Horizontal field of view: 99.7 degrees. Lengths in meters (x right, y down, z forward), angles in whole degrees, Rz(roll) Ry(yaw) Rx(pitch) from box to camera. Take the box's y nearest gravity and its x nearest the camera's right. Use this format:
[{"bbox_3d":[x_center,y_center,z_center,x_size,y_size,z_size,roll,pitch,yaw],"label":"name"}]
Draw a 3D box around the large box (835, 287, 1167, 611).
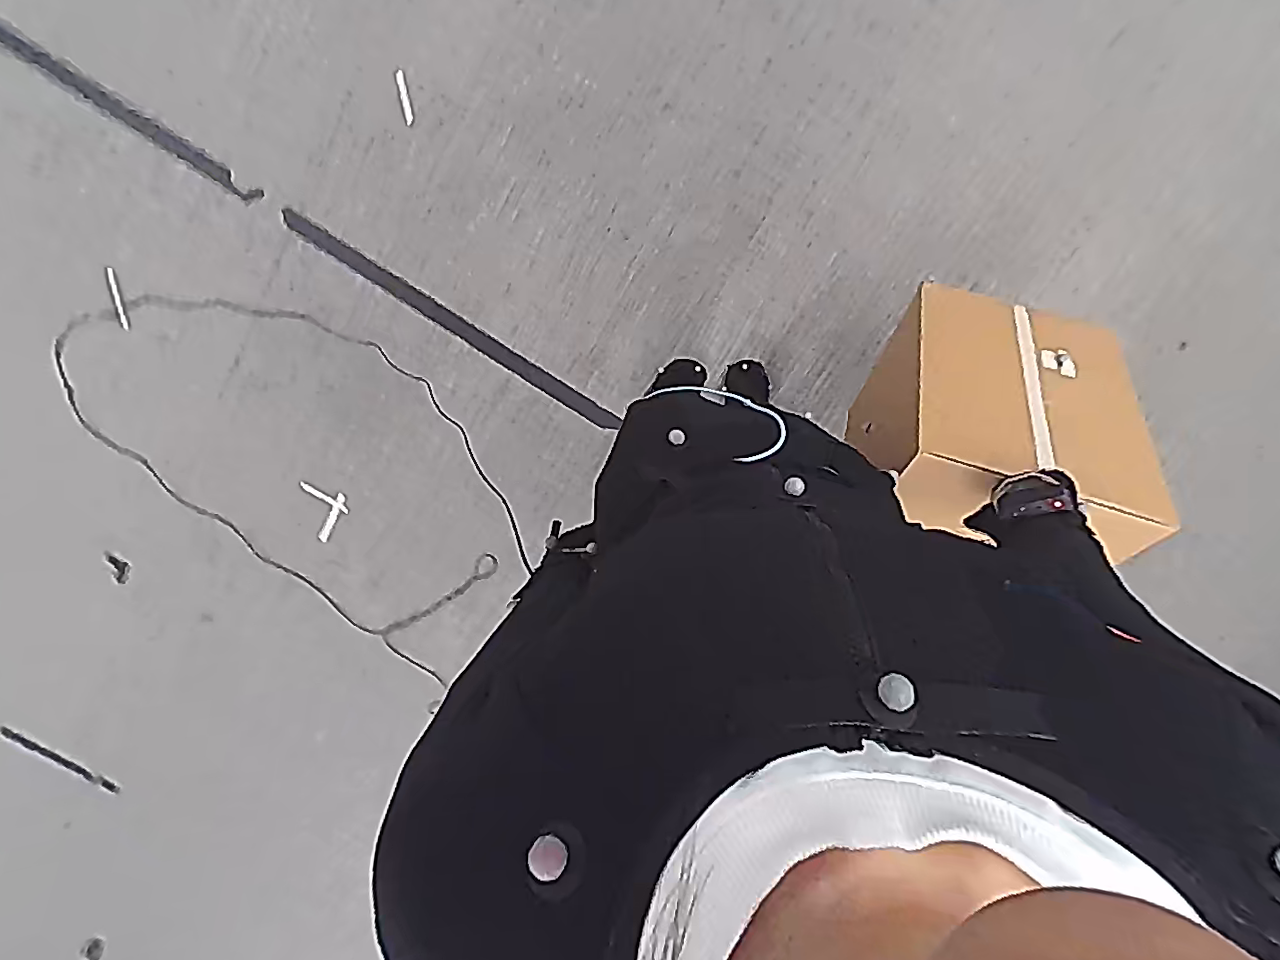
[{"bbox_3d":[0.543,-0.054,0.913,0.320,0.408,0.320,17,142,5],"label":"large box"}]
